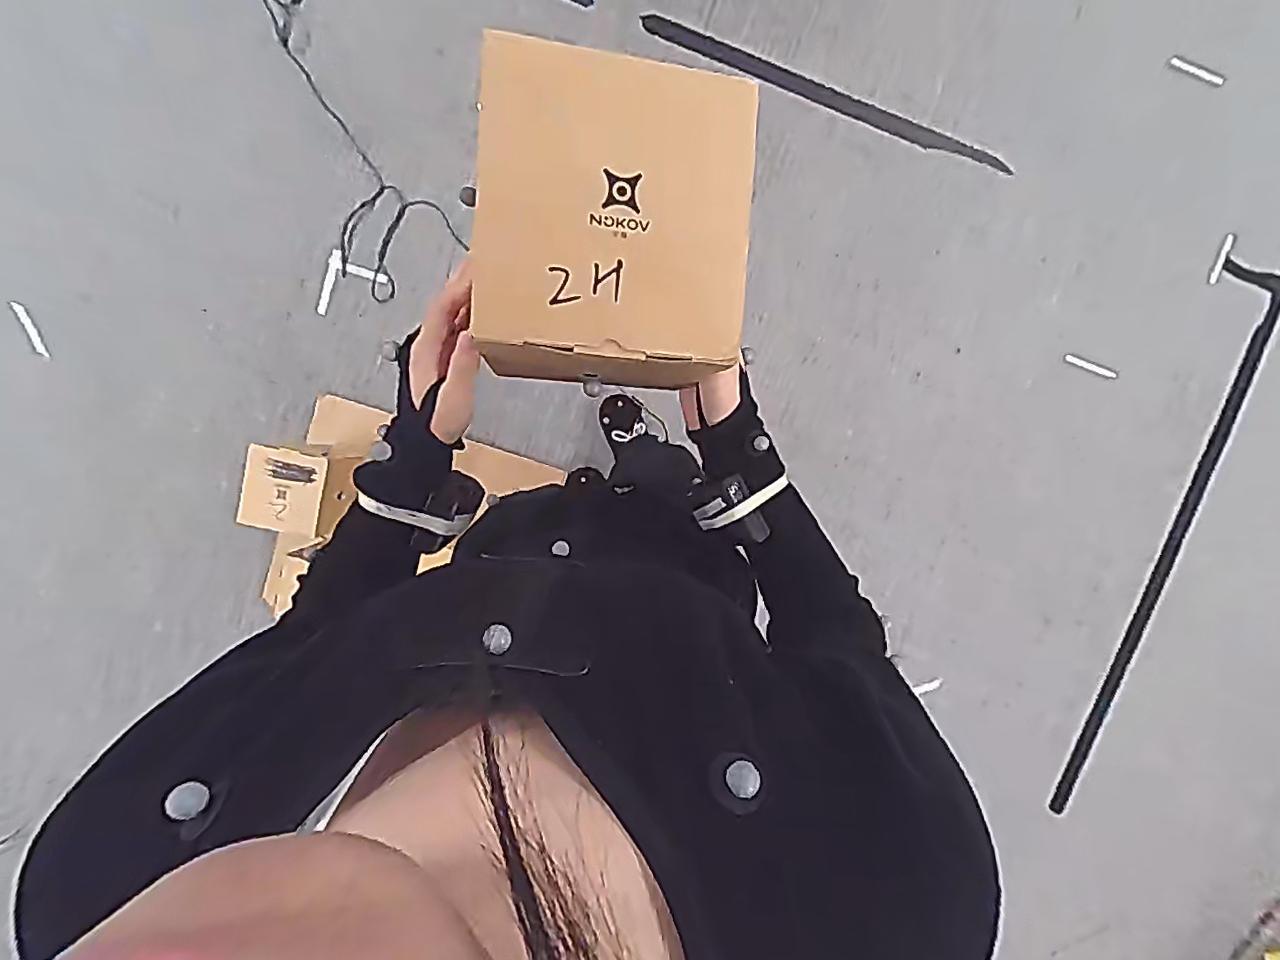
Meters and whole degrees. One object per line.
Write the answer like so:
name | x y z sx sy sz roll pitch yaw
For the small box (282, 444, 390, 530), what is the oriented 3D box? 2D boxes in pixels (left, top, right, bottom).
small box | -0.758 0.013 1.368 0.168 0.176 0.179 14 94 -3

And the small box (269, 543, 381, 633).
small box | -0.800 0.268 1.388 0.179 0.176 0.168 13 96 -3

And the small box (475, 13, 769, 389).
small box | -0.021 -0.170 0.393 0.168 0.176 0.179 4 92 -10

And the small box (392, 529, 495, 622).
small box | -0.496 0.236 1.392 0.179 0.176 0.168 22 93 -5
